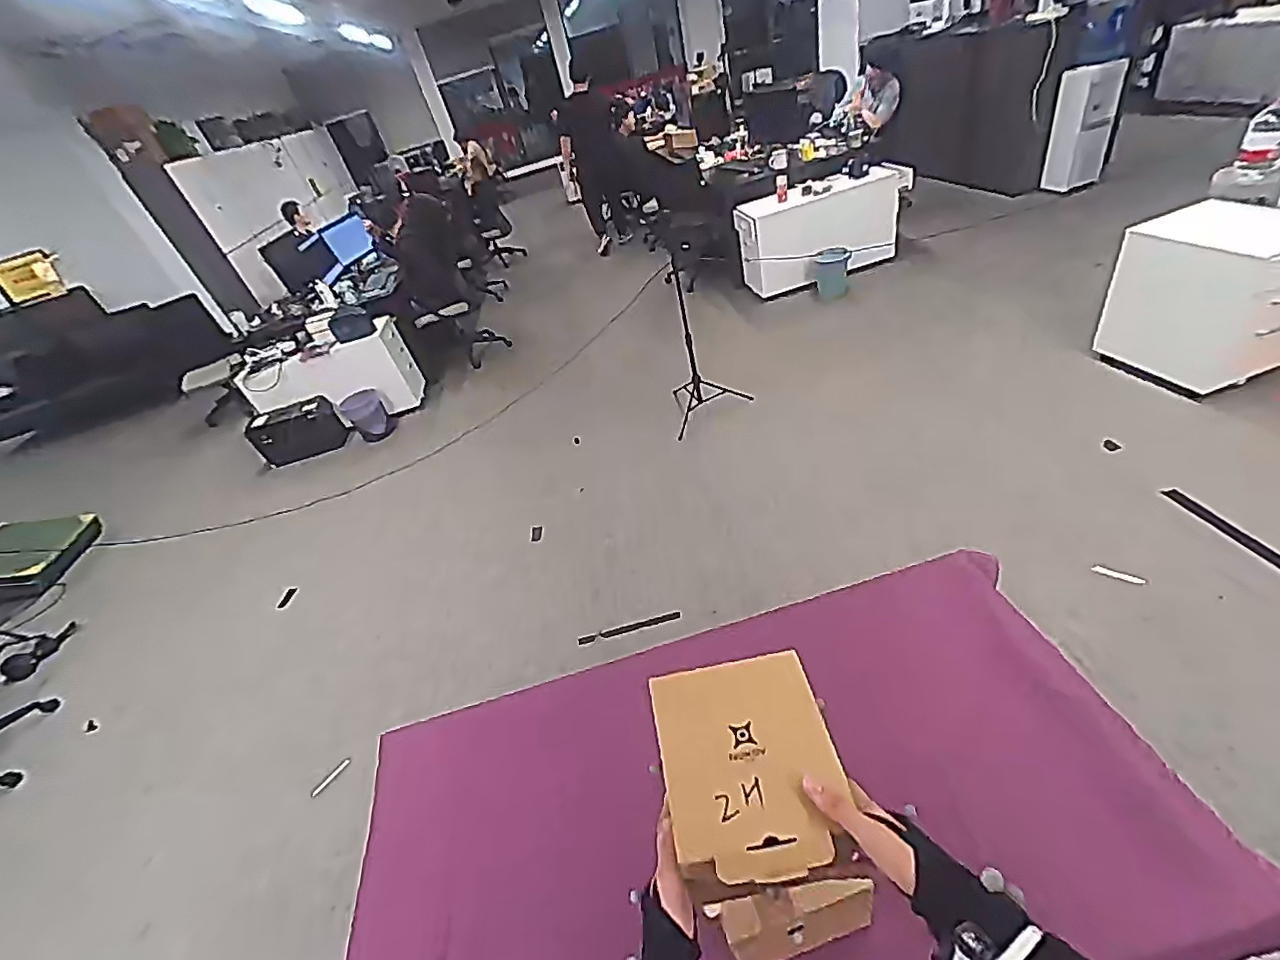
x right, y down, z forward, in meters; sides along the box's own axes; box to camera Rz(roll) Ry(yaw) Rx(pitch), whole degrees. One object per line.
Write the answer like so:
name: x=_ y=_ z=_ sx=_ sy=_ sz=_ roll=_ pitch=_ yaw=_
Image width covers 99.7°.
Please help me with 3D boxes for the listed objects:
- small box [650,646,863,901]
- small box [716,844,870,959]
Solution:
small box: x=0.110 y=0.309 z=0.573 sx=0.168 sy=0.176 sz=0.179 roll=-12 pitch=42 yaw=0
small box: x=0.179 y=0.493 z=0.709 sx=0.179 sy=0.176 sz=0.168 roll=-20 pitch=38 yaw=-3
